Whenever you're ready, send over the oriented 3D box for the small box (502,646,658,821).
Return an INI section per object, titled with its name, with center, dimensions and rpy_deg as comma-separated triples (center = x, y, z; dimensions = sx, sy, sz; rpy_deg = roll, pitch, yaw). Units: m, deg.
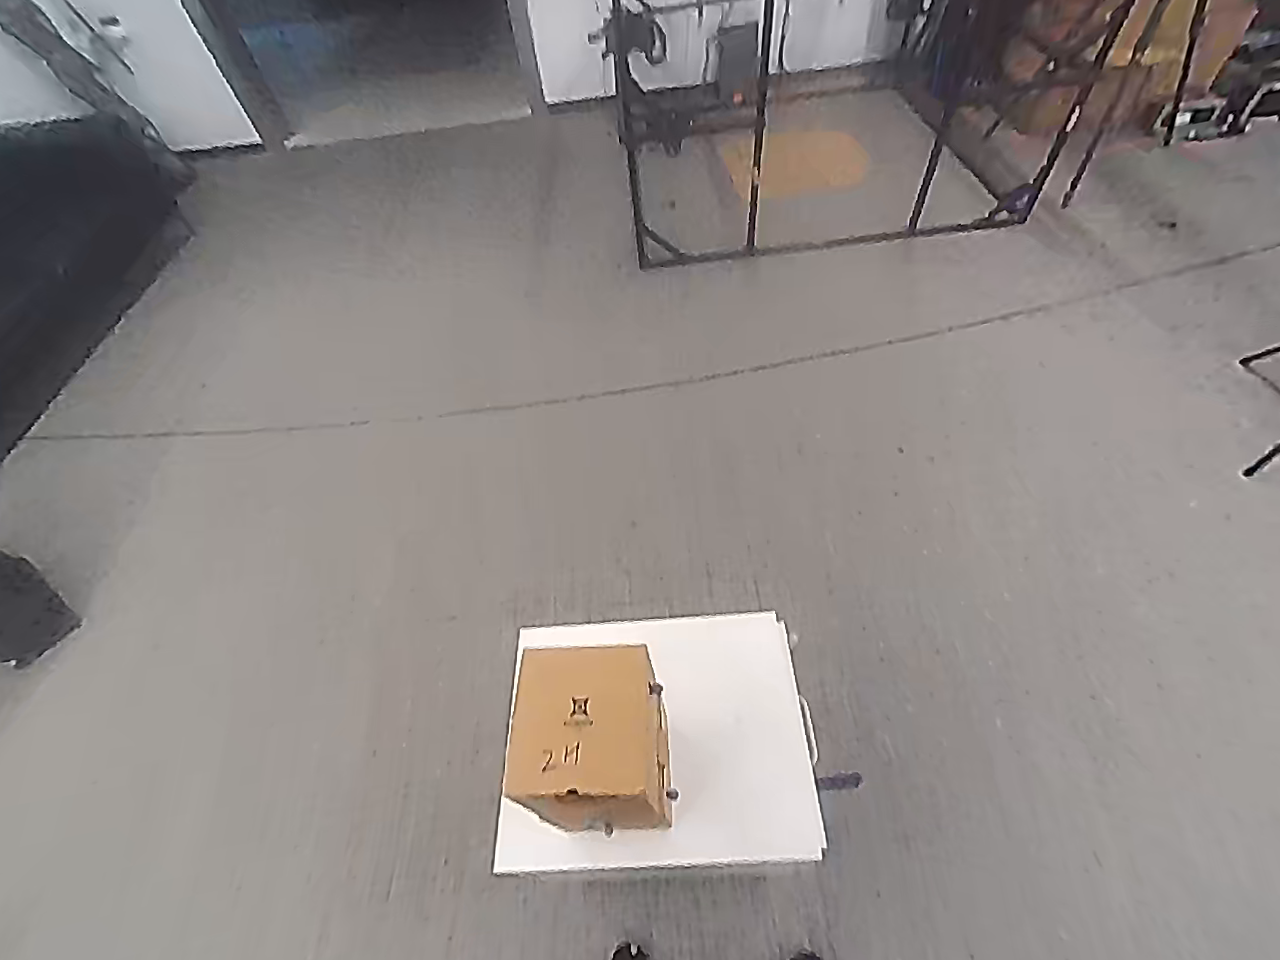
[small box]
center = -0.066, 0.336, 0.716
dimensions = 0.168, 0.176, 0.179
rpy_deg = -3, 51, 6
